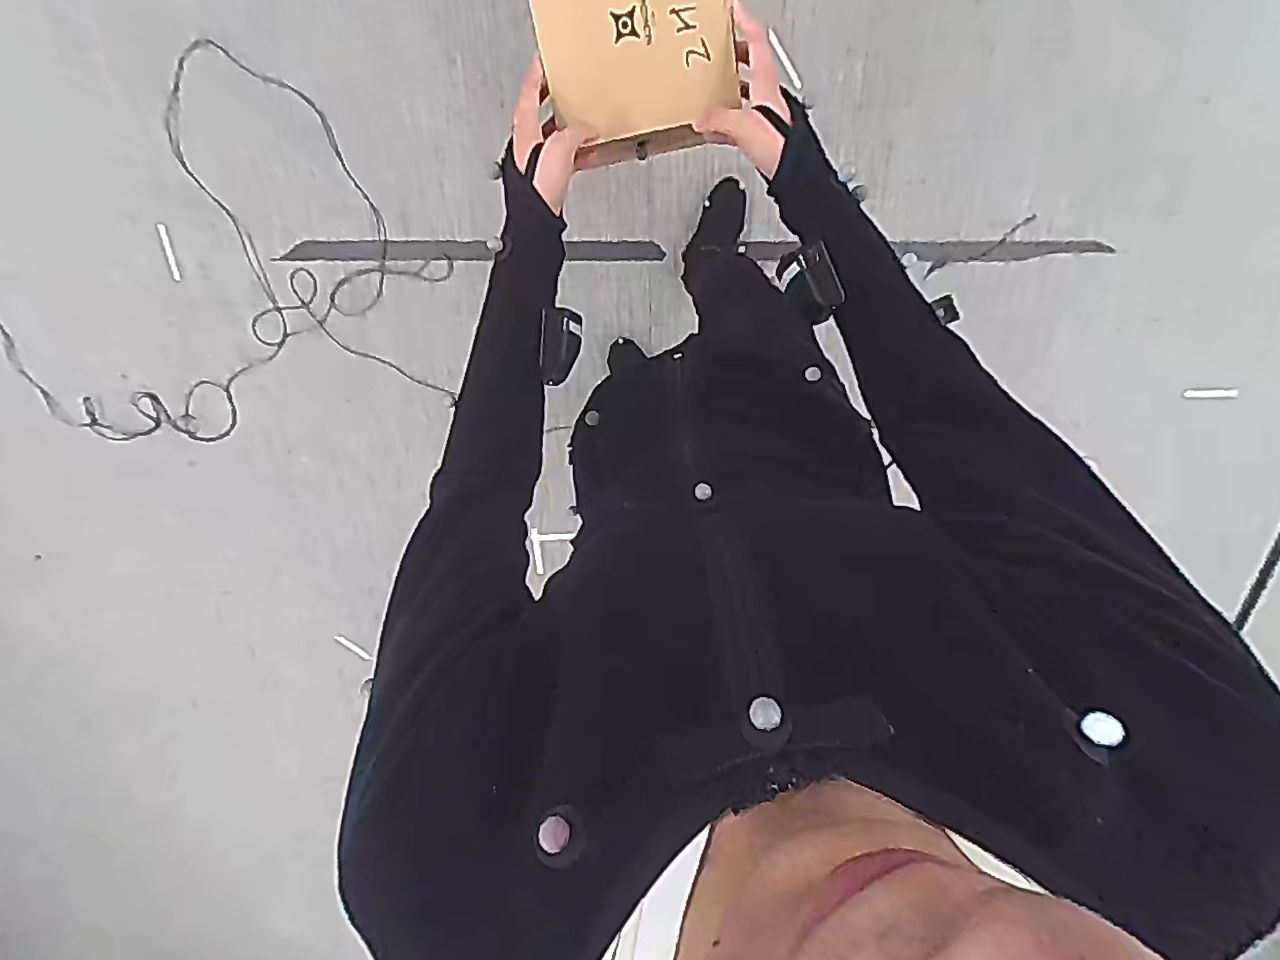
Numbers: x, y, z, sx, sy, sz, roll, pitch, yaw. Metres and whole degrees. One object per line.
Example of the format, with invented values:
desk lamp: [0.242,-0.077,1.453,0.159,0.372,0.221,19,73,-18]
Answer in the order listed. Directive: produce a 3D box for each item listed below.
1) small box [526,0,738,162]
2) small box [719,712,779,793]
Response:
small box: [-0.007,-0.435,0.545,0.179,0.176,0.168,-10,115,3]
small box: [0.360,0.908,1.807,0.168,0.176,0.179,-5,112,0]
